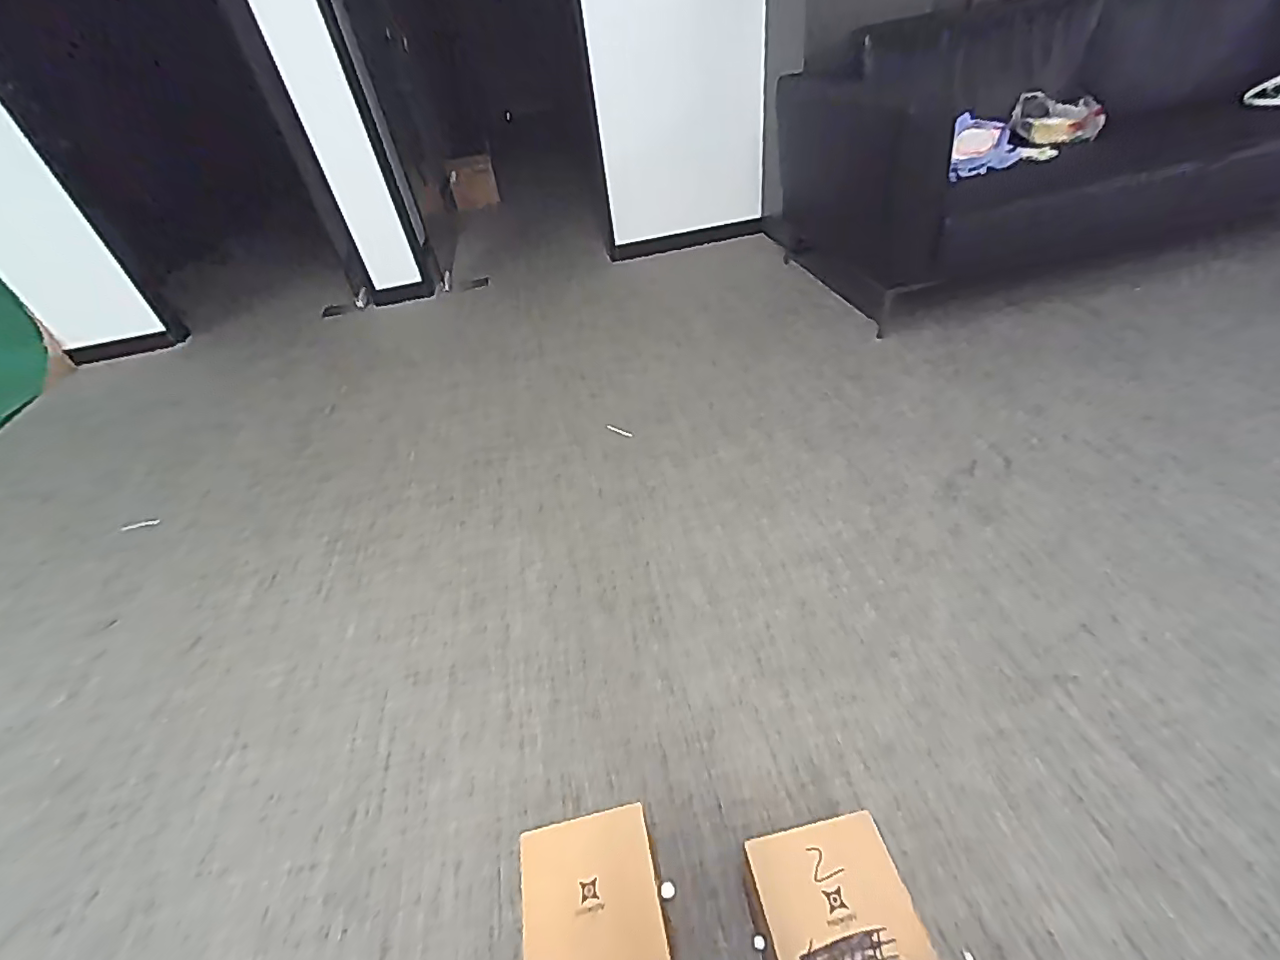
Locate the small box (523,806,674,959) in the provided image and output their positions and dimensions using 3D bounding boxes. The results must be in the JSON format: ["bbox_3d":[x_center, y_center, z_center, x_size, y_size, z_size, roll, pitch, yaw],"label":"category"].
[{"bbox_3d":[-0.053,0.567,0.707,0.168,0.176,0.179,-13,41,-4],"label":"small box"}]
